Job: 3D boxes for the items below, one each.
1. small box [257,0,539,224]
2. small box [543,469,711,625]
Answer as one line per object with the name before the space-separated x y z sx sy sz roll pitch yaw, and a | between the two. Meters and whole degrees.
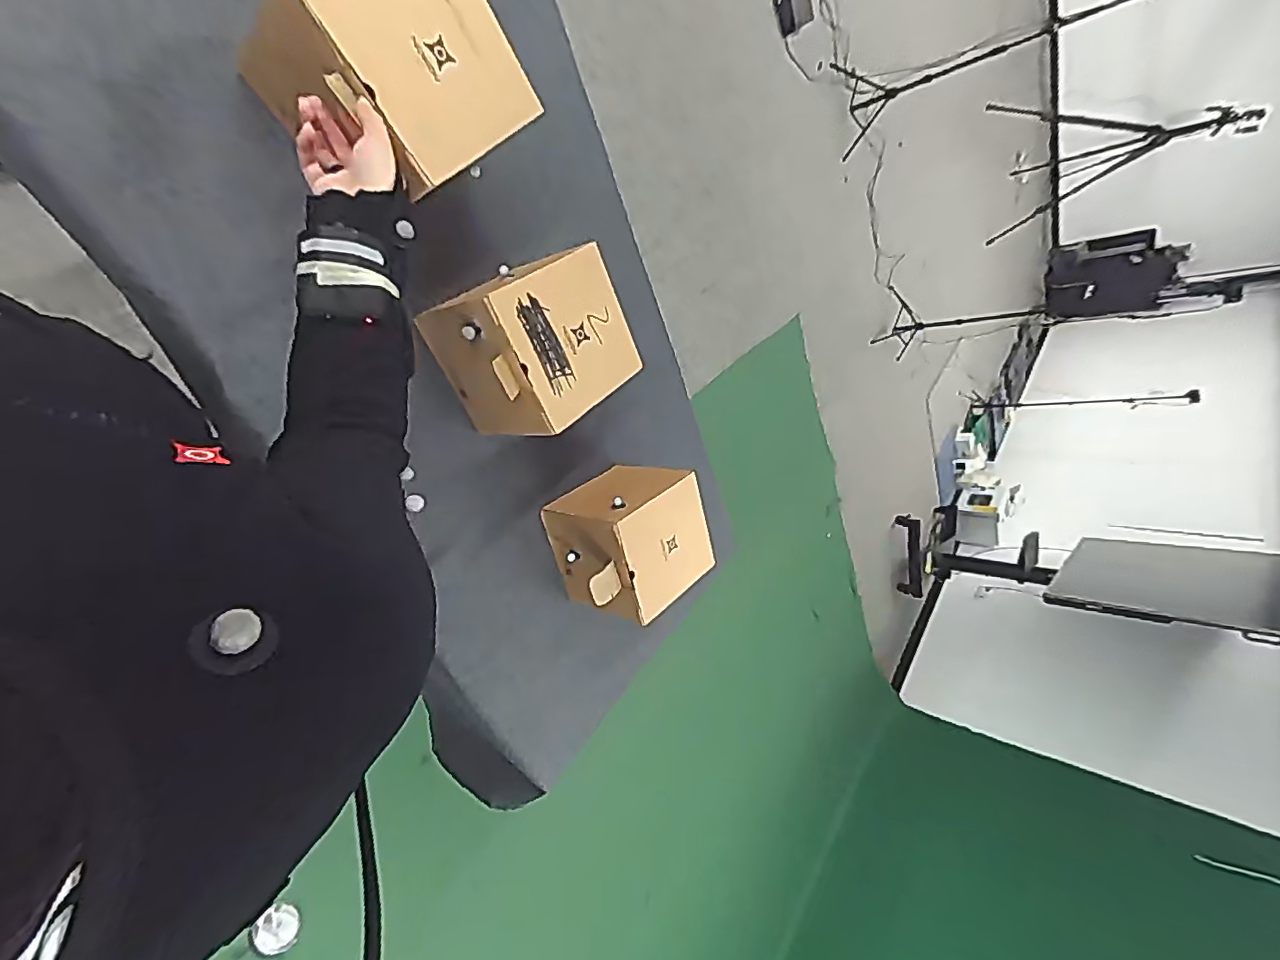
small box | -0.245 -0.390 0.547 0.179 0.176 0.168 -56 131 -28
small box | -0.018 0.090 0.836 0.179 0.176 0.168 -32 117 -39
